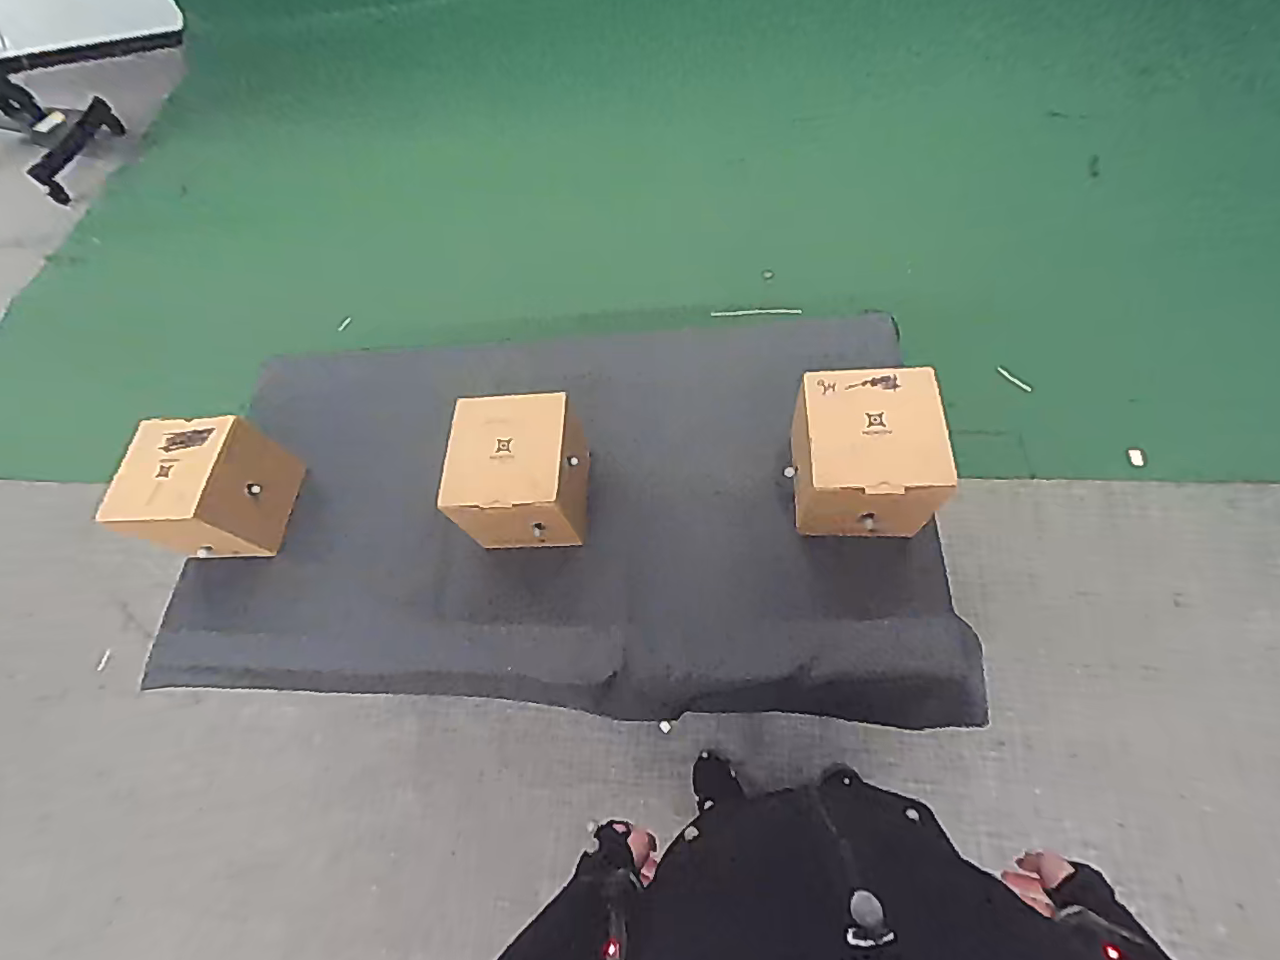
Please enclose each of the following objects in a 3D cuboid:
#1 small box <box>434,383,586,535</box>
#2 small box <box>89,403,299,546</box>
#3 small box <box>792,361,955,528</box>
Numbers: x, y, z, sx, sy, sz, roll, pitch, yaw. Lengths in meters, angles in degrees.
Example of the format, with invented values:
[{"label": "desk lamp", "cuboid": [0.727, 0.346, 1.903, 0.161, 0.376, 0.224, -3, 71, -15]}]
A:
[{"label": "small box", "cuboid": [-0.179, -0.022, 0.806, 0.168, 0.176, 0.179, -2, 63, 6]}, {"label": "small box", "cuboid": [-0.693, -0.005, 0.868, 0.168, 0.176, 0.179, -1, 64, 7]}, {"label": "small box", "cuboid": [0.303, -0.040, 0.741, 0.168, 0.176, 0.179, 0, 65, 9]}]
